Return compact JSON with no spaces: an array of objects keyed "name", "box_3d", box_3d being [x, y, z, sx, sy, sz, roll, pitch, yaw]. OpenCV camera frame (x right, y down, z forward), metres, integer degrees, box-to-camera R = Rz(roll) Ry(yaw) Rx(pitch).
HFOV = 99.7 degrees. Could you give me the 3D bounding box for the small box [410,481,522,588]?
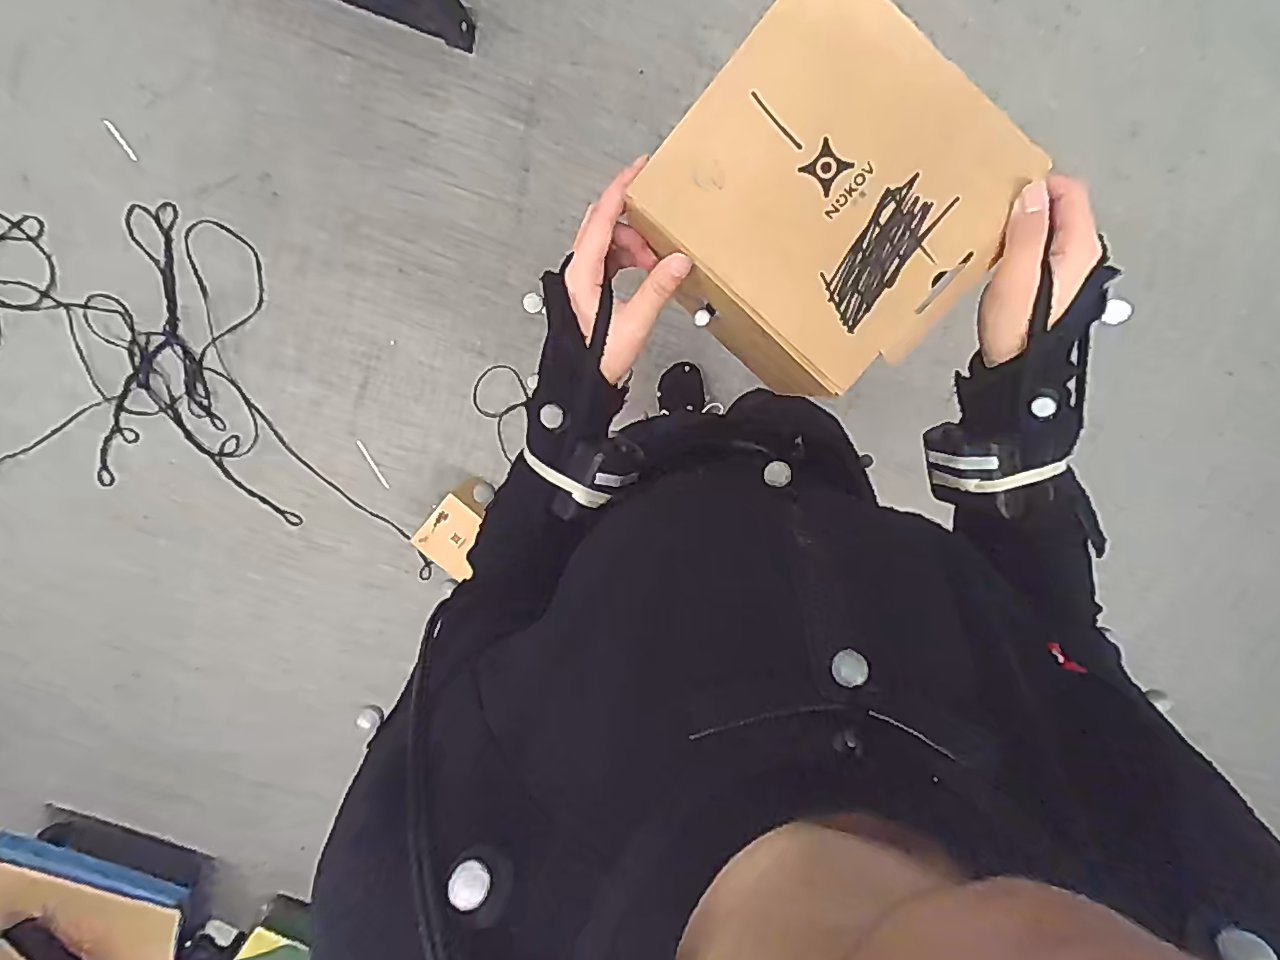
[{"name":"small box","box_3d":[-0.417,0.125,1.331,0.179,0.176,0.168,41,102,-8]}]
